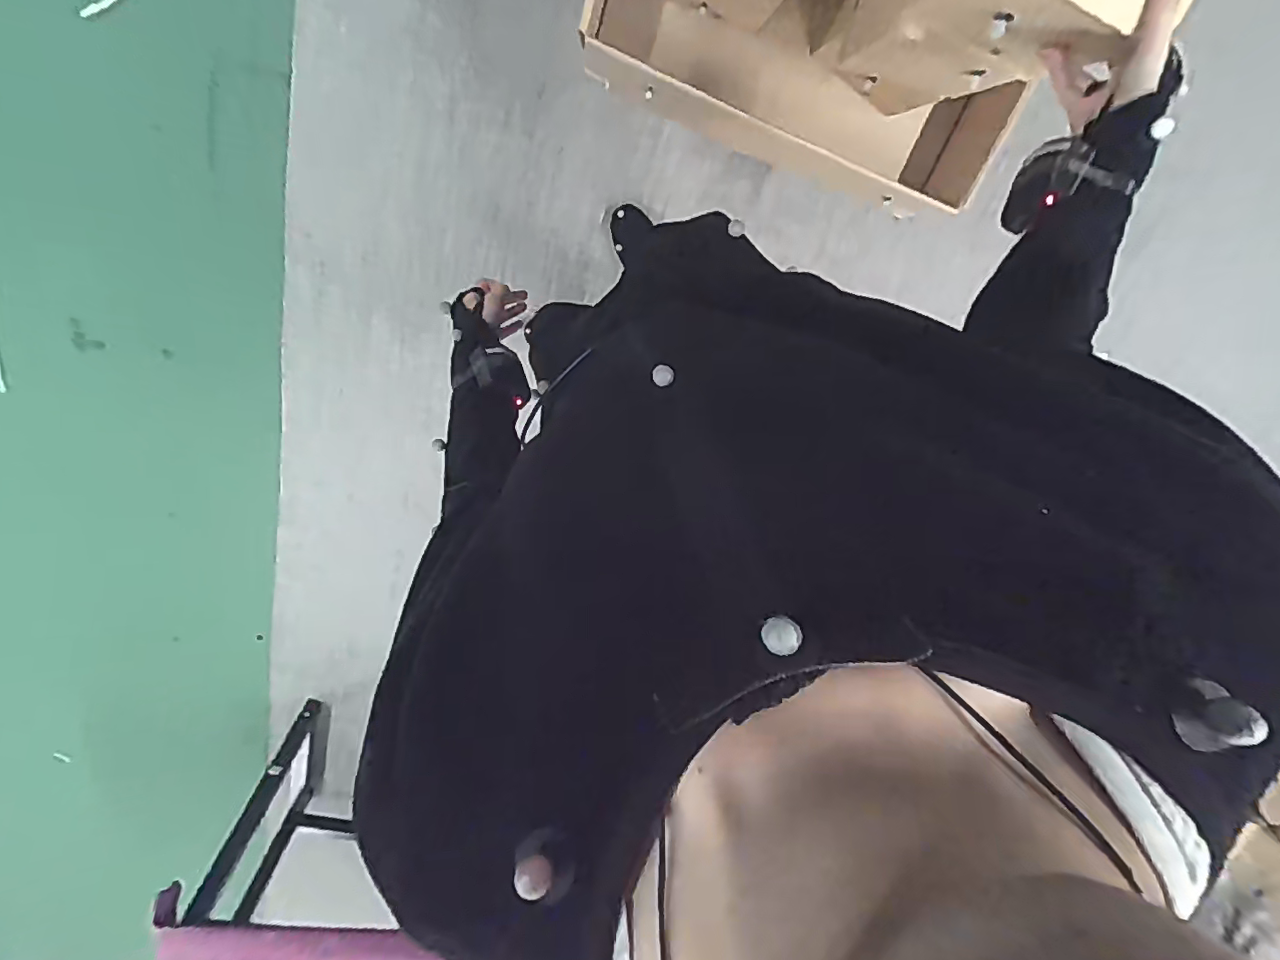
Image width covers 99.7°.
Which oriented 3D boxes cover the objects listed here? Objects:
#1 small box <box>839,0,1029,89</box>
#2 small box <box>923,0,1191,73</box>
[{"bbox_3d":[0.356,-0.562,0.603,0.179,0.176,0.168,10,117,-7],"label":"small box"},{"bbox_3d":[0.375,-0.486,0.459,0.168,0.176,0.179,17,116,-12],"label":"small box"}]
